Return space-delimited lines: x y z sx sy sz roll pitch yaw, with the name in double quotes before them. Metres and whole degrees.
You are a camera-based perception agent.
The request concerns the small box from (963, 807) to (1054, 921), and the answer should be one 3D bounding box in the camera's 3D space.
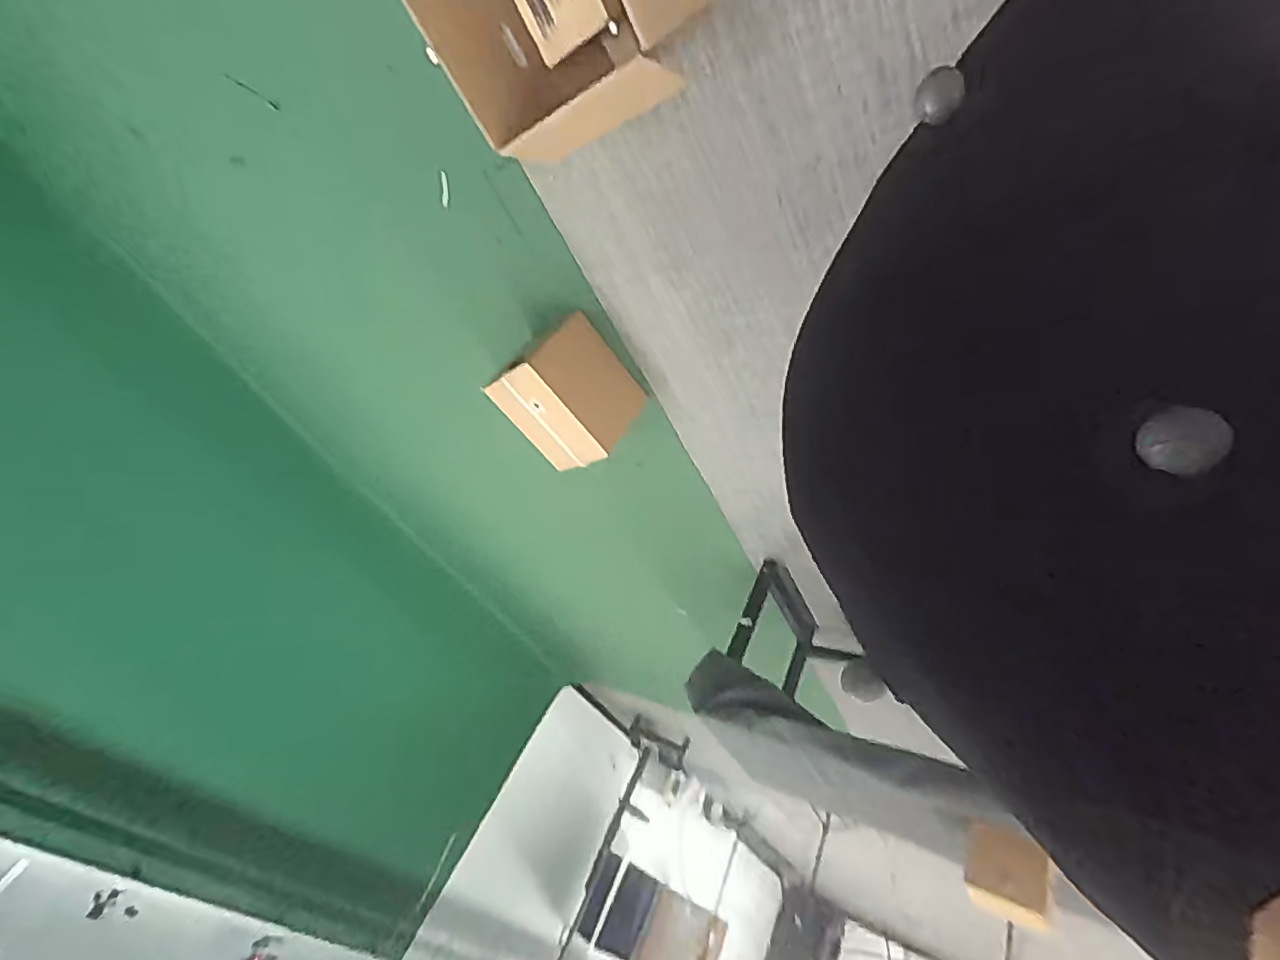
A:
"small box" 0.965 0.992 1.411 0.179 0.176 0.168 -1 135 43
